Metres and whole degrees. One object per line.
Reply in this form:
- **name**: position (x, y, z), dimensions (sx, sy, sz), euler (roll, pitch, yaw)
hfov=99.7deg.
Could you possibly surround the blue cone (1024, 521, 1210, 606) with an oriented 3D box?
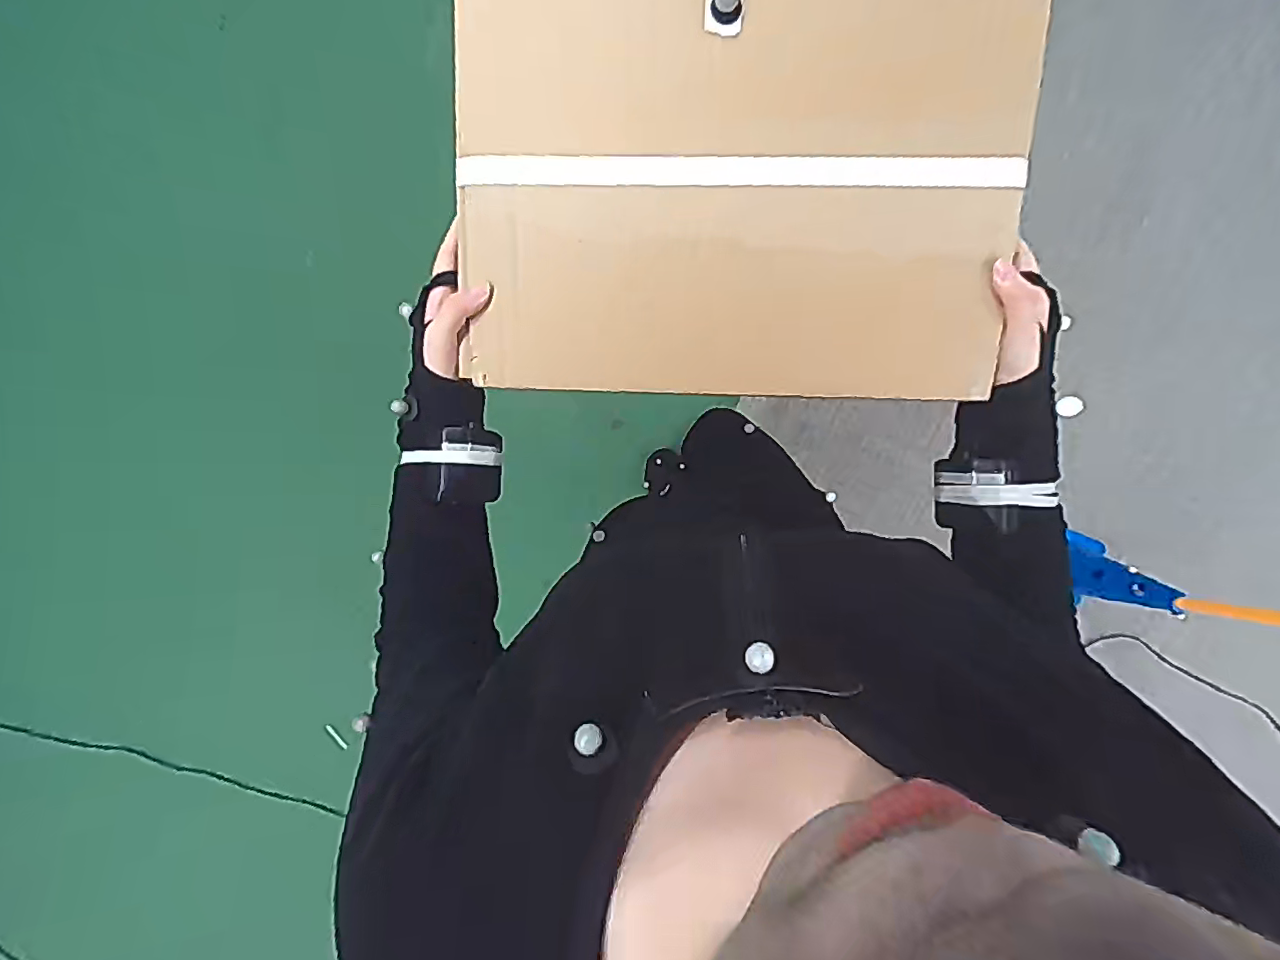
- **blue cone**: position (1.127, 0.225, 1.273), dimensions (0.192, 0.380, 0.193), euler (21, 93, 1)
